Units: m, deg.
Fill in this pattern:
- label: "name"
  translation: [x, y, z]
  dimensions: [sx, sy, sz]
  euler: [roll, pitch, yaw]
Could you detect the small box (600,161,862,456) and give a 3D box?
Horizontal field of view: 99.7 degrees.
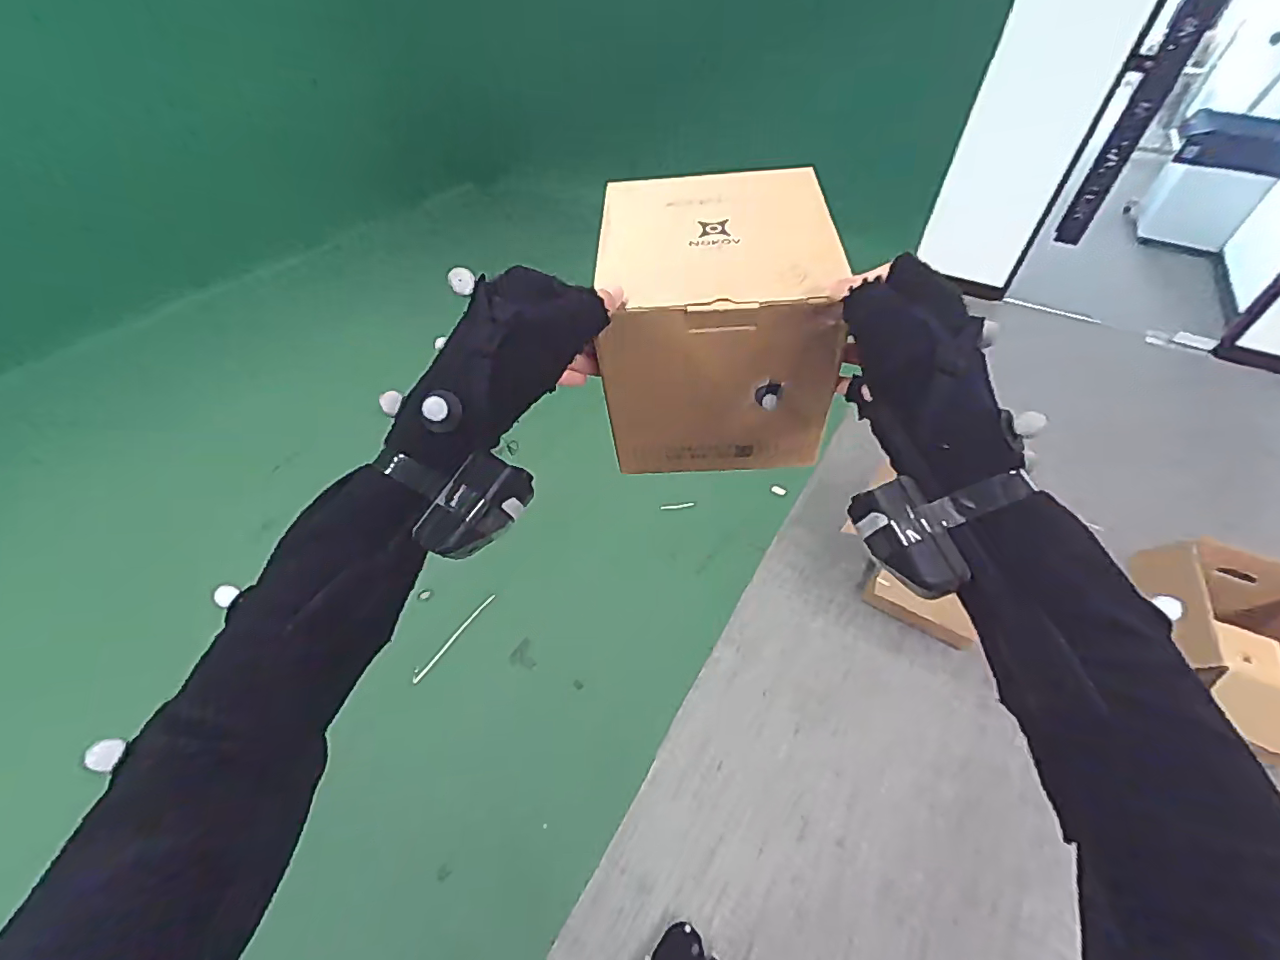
- label: "small box"
  translation: [0.065, -0.131, 0.447]
  dimensions: [0.168, 0.176, 0.179]
  euler: [-1, 53, 4]
